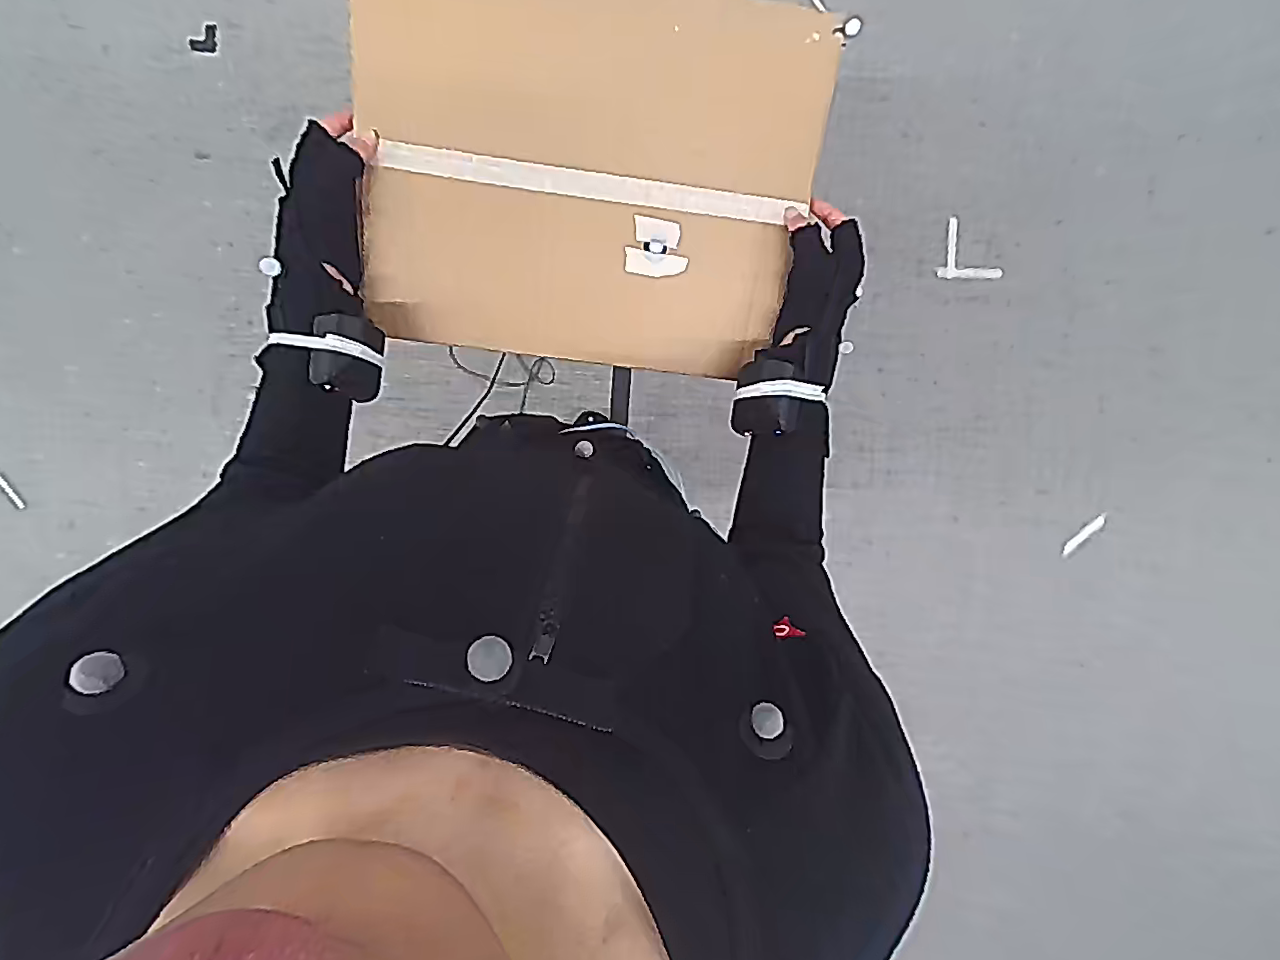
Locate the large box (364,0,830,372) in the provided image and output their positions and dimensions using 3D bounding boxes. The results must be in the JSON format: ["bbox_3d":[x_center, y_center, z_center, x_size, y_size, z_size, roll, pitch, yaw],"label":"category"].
[{"bbox_3d":[-0.056,-0.321,0.642,0.408,0.320,0.320,6,109,-6],"label":"large box"}]
